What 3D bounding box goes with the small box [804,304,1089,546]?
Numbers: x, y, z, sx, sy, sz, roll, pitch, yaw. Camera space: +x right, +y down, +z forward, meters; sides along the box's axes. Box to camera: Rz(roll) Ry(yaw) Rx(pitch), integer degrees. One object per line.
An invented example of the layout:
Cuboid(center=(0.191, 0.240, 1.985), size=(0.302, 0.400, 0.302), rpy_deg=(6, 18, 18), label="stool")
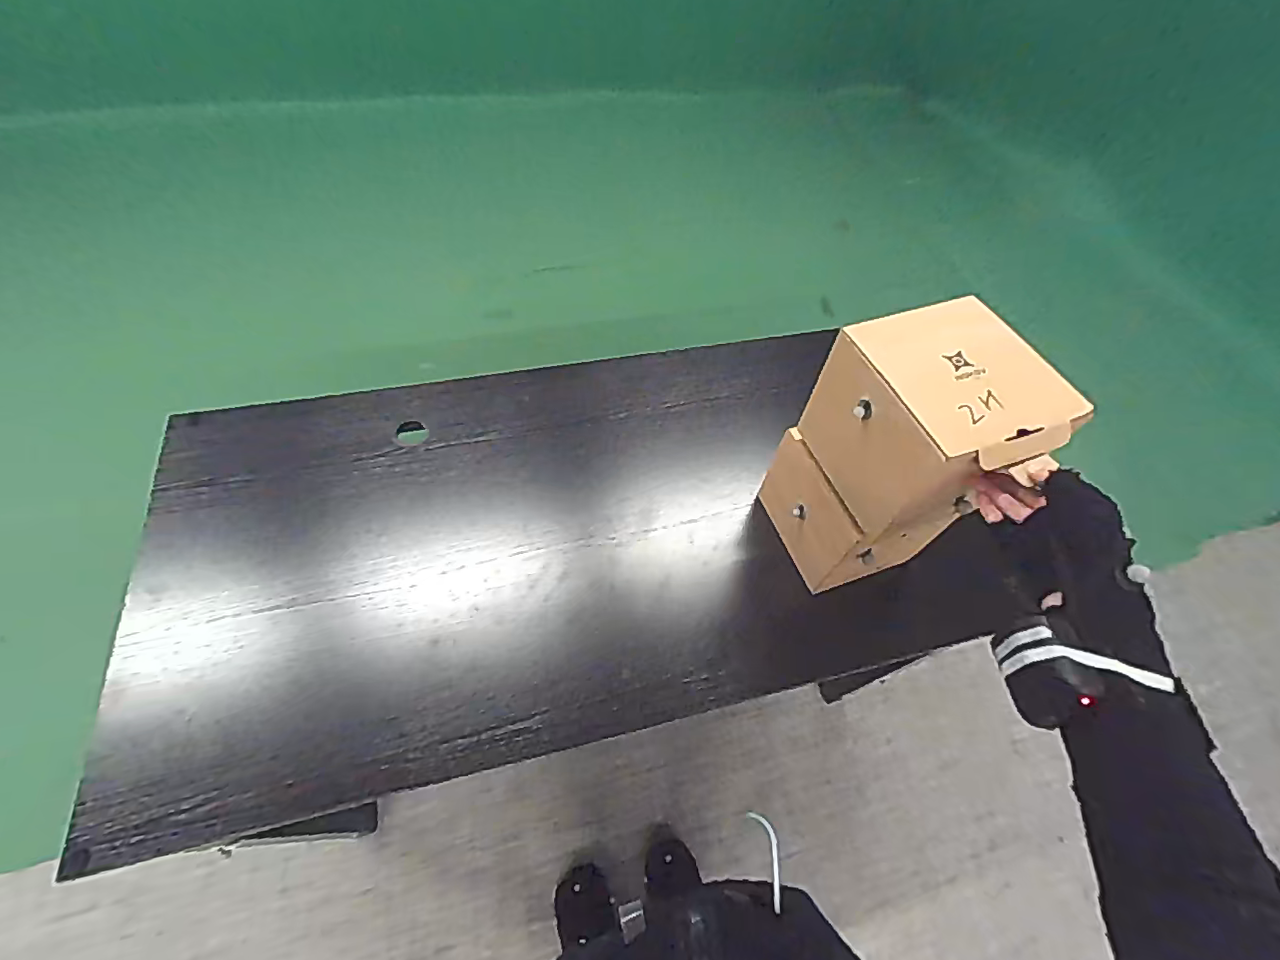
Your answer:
Cuboid(center=(0.306, -0.057, 0.589), size=(0.168, 0.176, 0.179), rpy_deg=(-16, 59, -12), label="small box")
